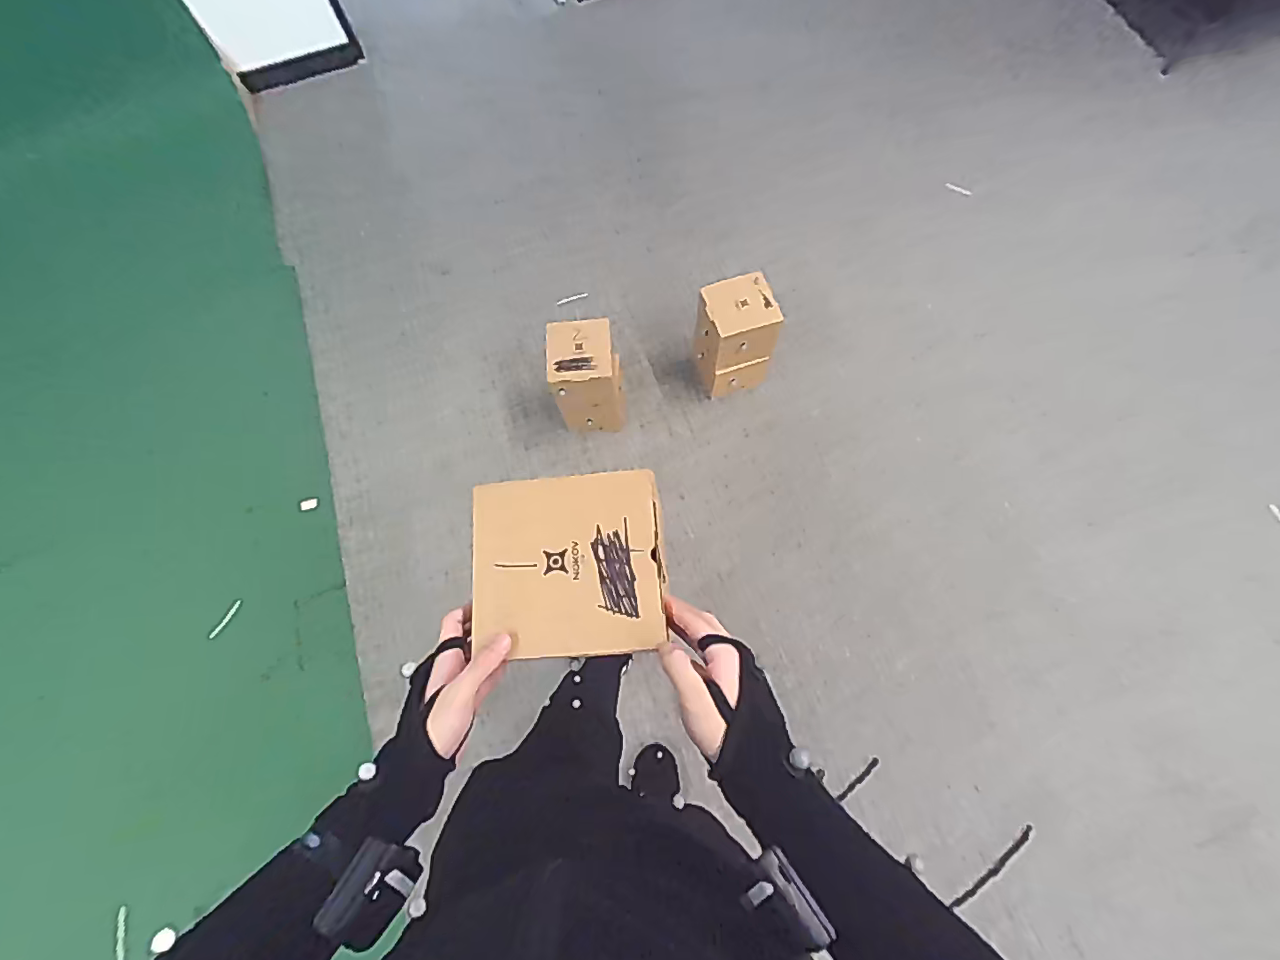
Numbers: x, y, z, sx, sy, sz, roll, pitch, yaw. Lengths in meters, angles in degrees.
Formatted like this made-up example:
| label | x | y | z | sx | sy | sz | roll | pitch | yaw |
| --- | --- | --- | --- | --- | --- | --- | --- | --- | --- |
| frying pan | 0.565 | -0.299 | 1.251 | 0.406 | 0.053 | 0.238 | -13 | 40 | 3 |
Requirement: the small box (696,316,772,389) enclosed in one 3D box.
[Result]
| label | x | y | z | sx | sy | sz | roll | pitch | yaw |
| --- | --- | --- | --- | --- | --- | --- | --- | --- | --- |
| small box | 0.273 | -0.387 | 1.602 | 0.168 | 0.176 | 0.179 | -17 | 72 | -3 |

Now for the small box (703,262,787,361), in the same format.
| label | x | y | z | sx | sy | sz | roll | pitch | yaw |
| --- | --- | --- | --- | --- | --- | --- | --- | --- | --- |
| small box | 0.272 | -0.443 | 1.448 | 0.179 | 0.176 | 0.168 | -15 | 72 | -2 |

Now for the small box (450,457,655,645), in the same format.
| label | x | y | z | sx | sy | sz | roll | pitch | yaw |
| --- | --- | --- | --- | --- | --- | --- | --- | --- | --- |
| small box | -0.074 | 0.079 | 0.555 | 0.179 | 0.176 | 0.168 | -3 | 75 | 4 |

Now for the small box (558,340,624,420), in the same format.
| label | x | y | z | sx | sy | sz | roll | pitch | yaw |
| --- | --- | --- | --- | --- | --- | --- | --- | --- | --- |
| small box | -0.137 | -0.287 | 1.580 | 0.168 | 0.176 | 0.179 | 3 | 72 | 2 |
